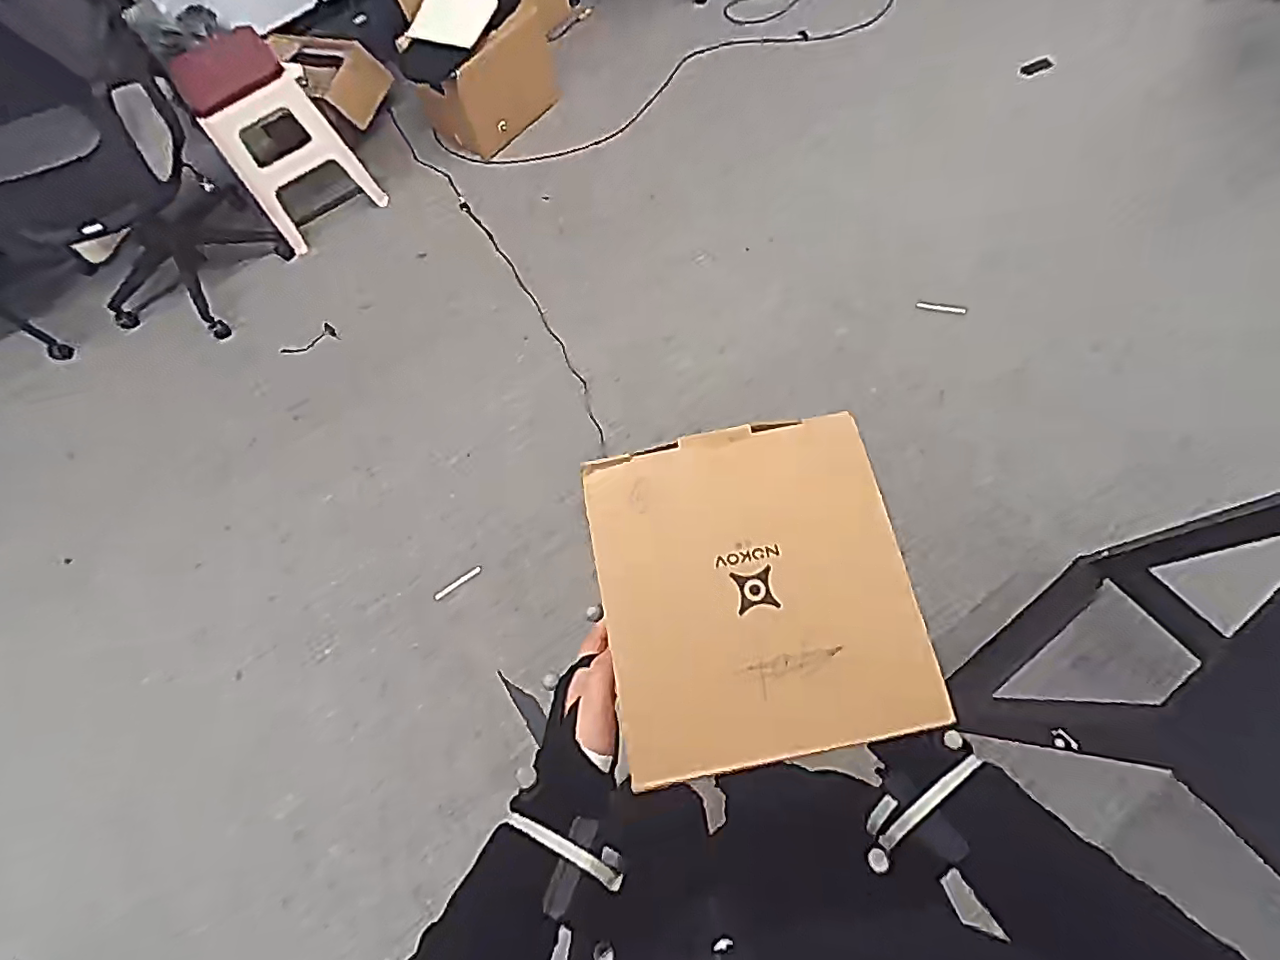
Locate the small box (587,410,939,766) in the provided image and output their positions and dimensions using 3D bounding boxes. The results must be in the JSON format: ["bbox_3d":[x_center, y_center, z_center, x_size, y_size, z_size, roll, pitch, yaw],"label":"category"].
[{"bbox_3d":[0.063,0.075,0.380,0.168,0.176,0.179,-12,74,-1],"label":"small box"}]
